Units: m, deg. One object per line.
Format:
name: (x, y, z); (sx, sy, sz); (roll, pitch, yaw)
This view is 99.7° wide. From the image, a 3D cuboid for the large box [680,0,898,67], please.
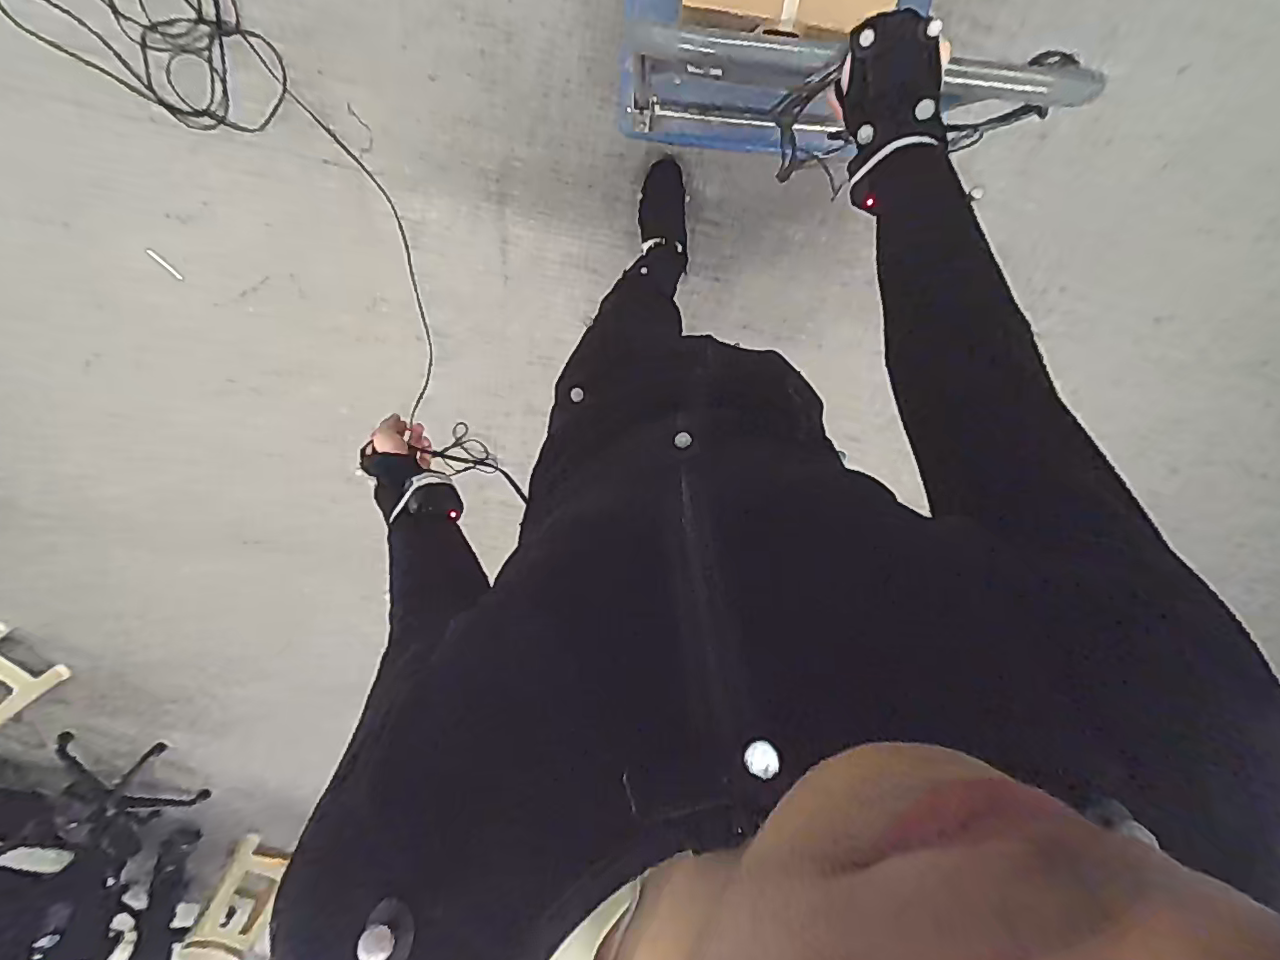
large box: (0.241, -0.919, 0.826); (0.320, 0.320, 0.408); (7, 119, -3)
